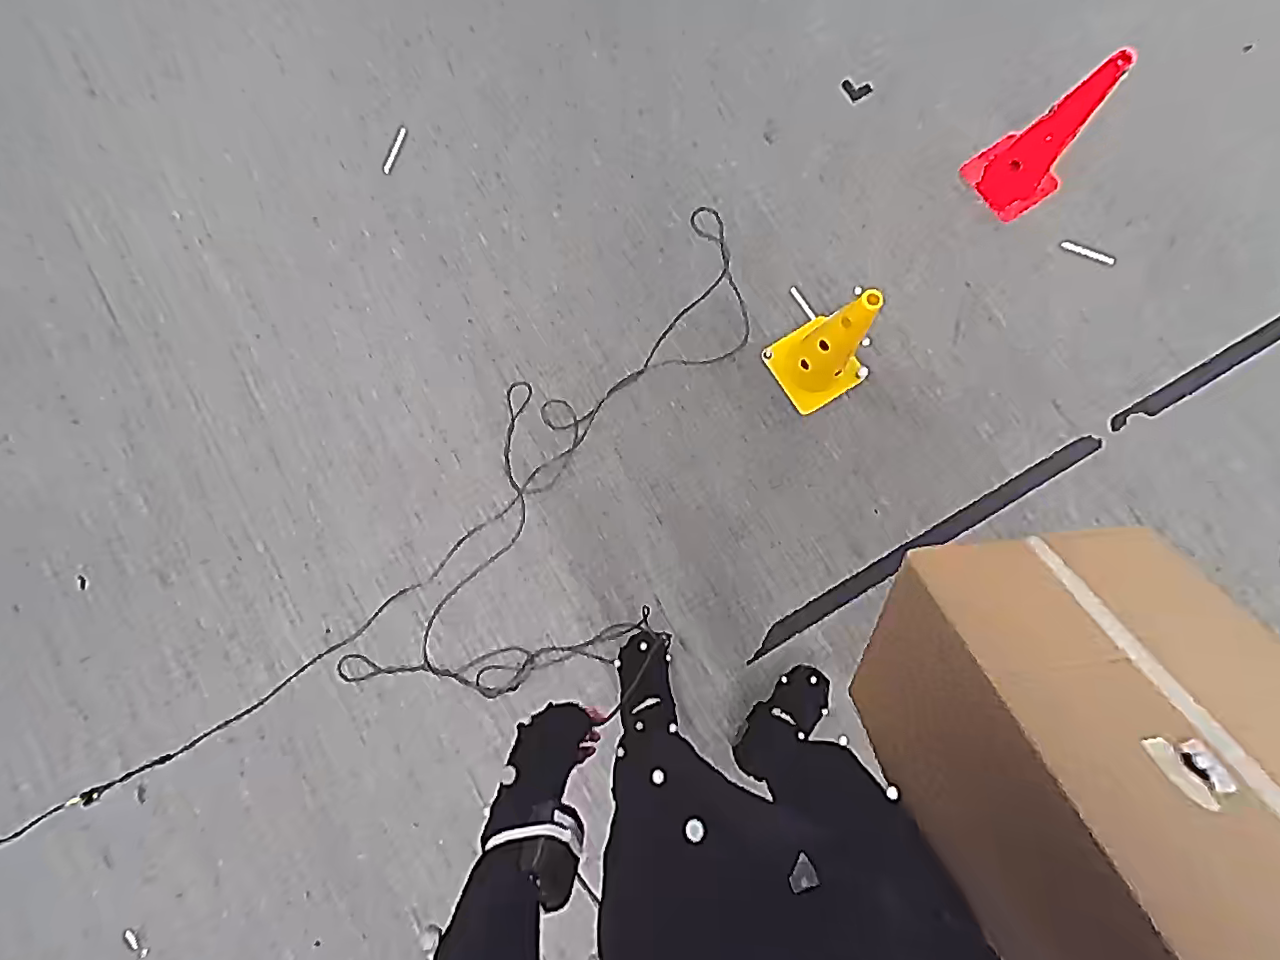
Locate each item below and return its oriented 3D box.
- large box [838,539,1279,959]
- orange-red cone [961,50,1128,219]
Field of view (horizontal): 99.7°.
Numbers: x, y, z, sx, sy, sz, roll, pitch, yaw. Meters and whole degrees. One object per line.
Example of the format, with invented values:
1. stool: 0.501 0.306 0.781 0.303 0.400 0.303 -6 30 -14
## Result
1. large box: 0.478 0.322 0.607 0.320 0.320 0.408 -5 40 -5
2. orange-red cone: 0.974 -0.828 1.266 0.199 0.360 0.198 -33 82 -3
